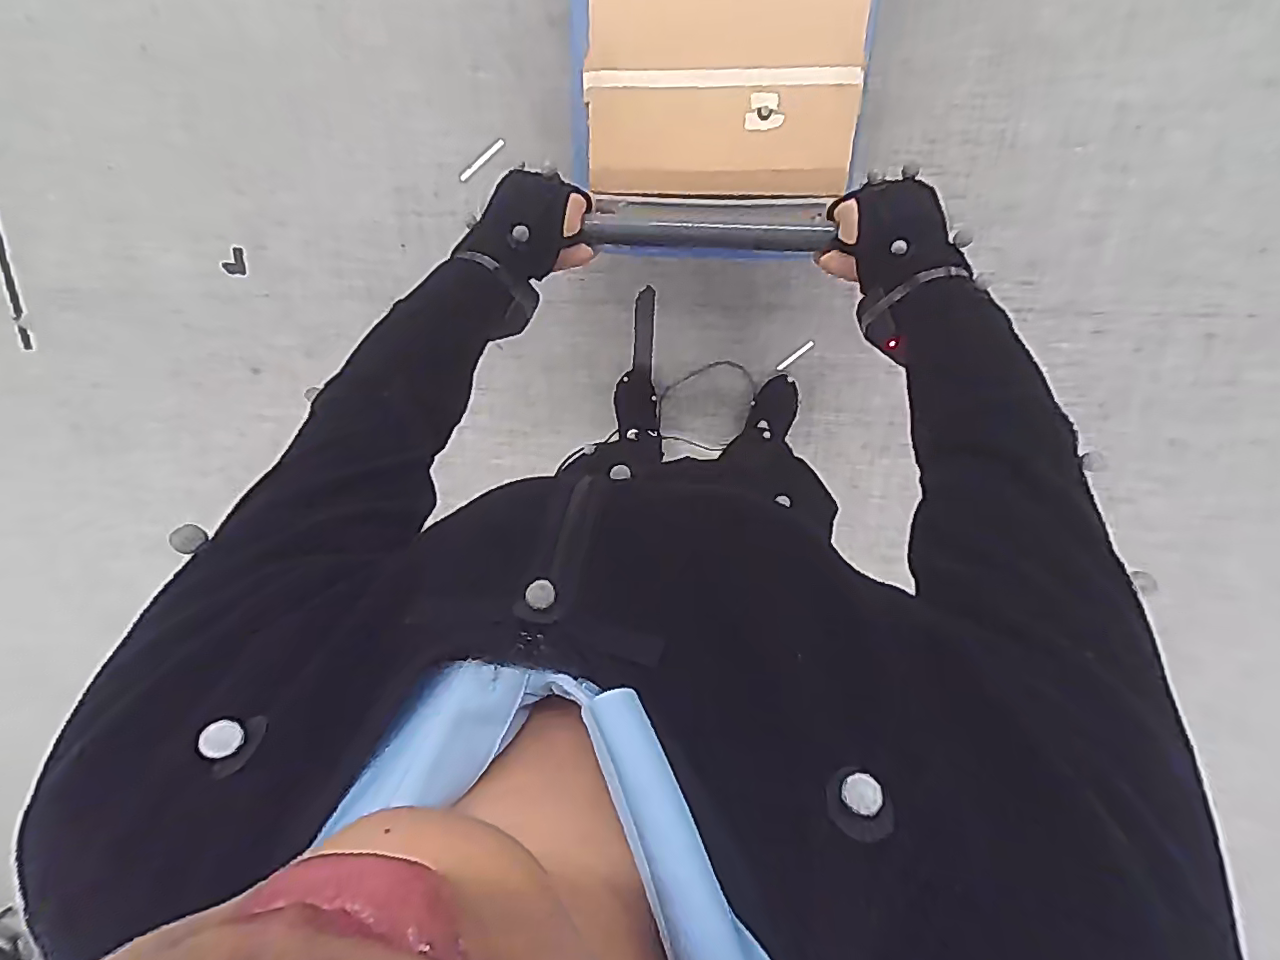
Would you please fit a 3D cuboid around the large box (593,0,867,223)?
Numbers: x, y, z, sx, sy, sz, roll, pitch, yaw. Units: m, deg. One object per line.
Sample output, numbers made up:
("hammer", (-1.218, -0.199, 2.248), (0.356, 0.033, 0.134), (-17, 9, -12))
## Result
("large box", (0.140, -0.649, 0.963), (0.408, 0.320, 0.320), (3, 110, 5))
